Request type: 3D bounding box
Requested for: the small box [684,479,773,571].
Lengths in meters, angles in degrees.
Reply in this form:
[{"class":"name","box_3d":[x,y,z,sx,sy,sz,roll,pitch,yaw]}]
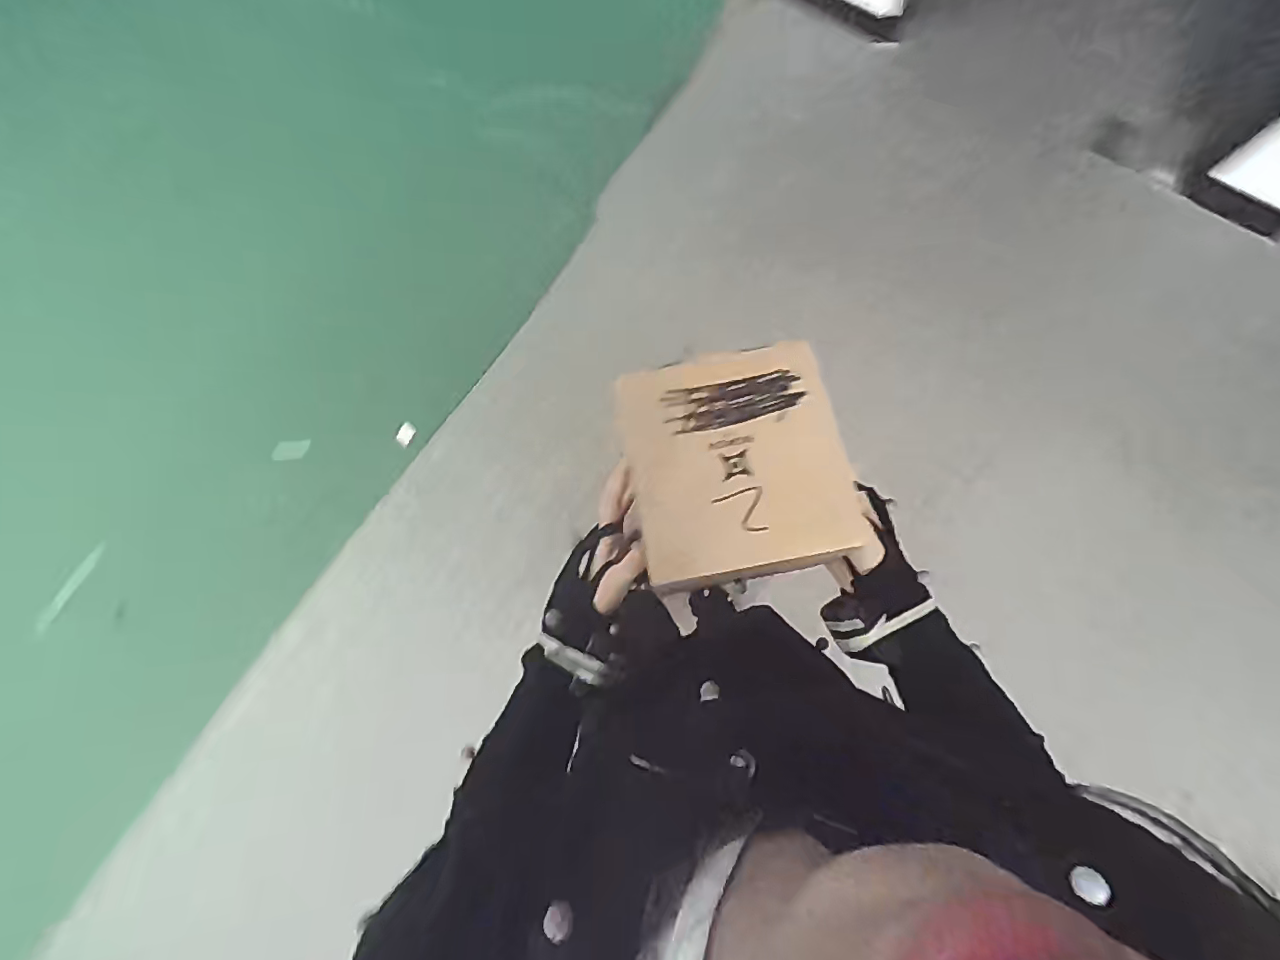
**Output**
[{"class":"small box","box_3d":[0.231,0.122,1.430,0.168,0.176,0.179,31,86,9]}]
